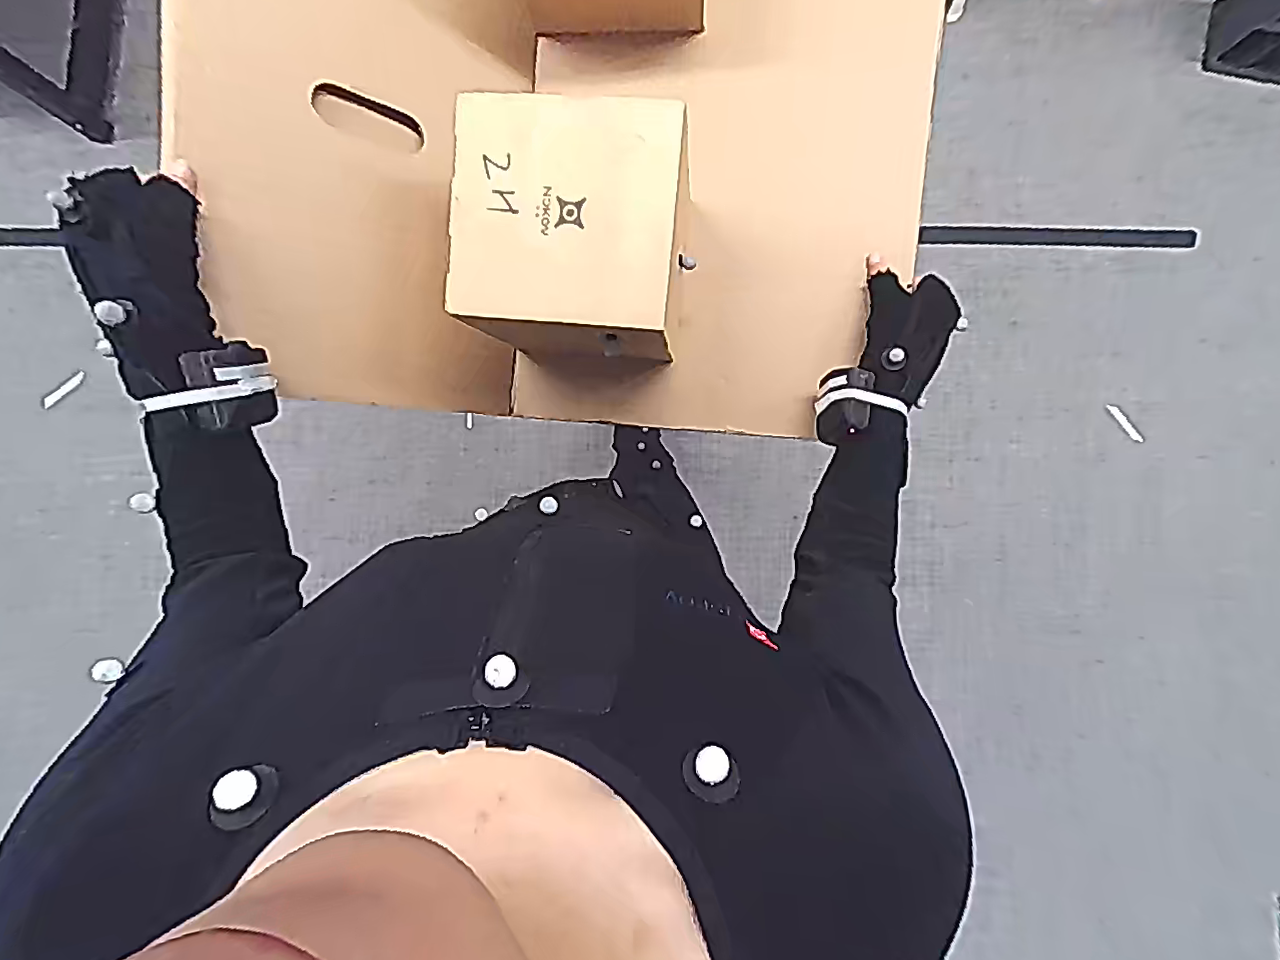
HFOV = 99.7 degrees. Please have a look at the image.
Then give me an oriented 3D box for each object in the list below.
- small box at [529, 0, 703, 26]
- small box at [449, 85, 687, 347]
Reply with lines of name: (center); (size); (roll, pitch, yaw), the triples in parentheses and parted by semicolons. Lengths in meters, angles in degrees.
small box: (-0.029, -0.538, 0.468); (0.179, 0.176, 0.168); (4, 95, 5)
small box: (-0.051, -0.221, 0.496); (0.179, 0.176, 0.168); (6, 95, 6)
